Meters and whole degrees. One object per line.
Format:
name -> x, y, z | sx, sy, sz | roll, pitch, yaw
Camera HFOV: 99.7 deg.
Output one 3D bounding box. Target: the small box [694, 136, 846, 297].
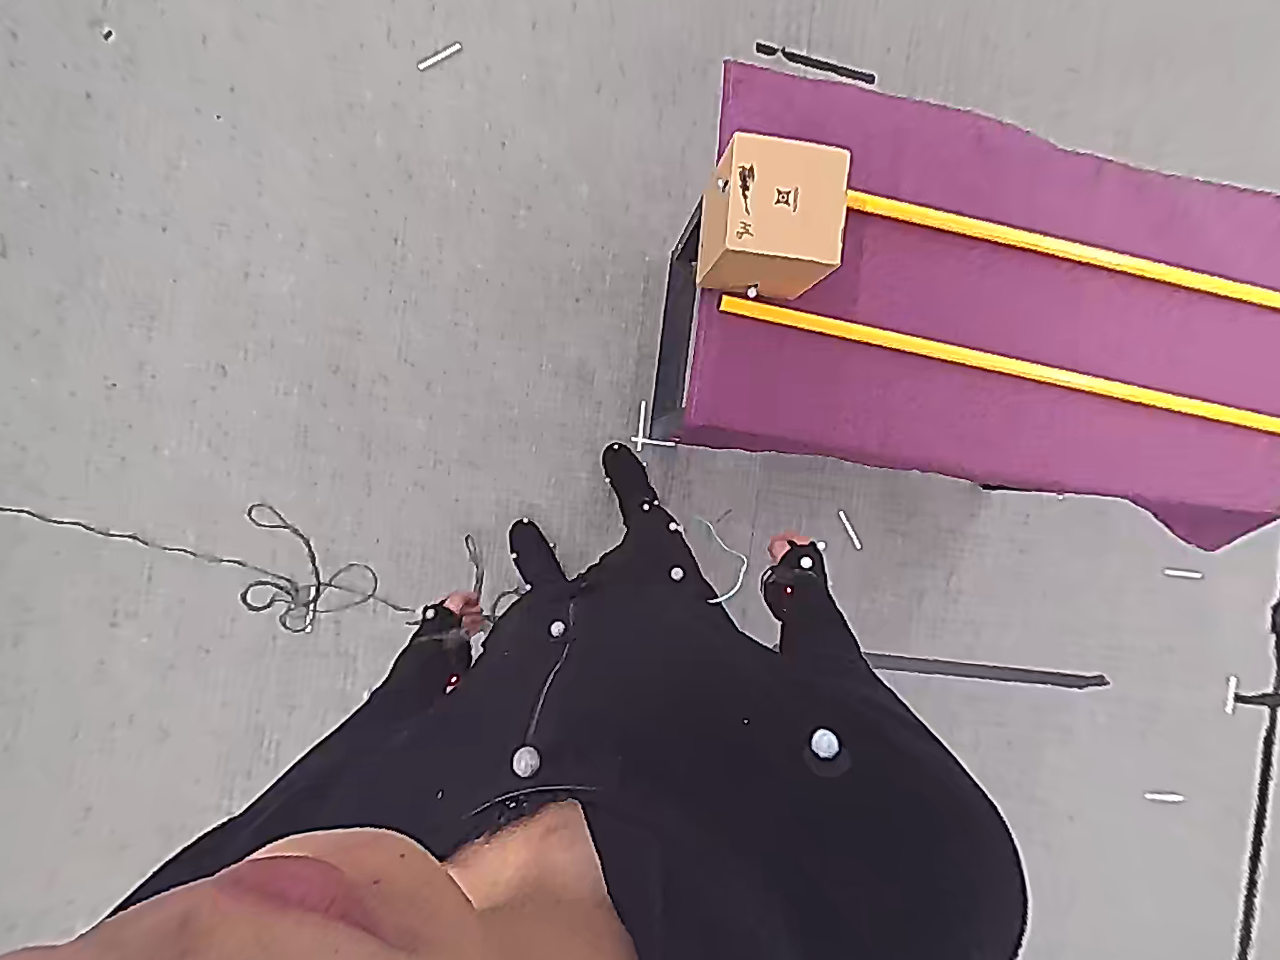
small box -> 0.198, -0.402, 0.859 | 0.179, 0.176, 0.168 | 5, 91, -9
